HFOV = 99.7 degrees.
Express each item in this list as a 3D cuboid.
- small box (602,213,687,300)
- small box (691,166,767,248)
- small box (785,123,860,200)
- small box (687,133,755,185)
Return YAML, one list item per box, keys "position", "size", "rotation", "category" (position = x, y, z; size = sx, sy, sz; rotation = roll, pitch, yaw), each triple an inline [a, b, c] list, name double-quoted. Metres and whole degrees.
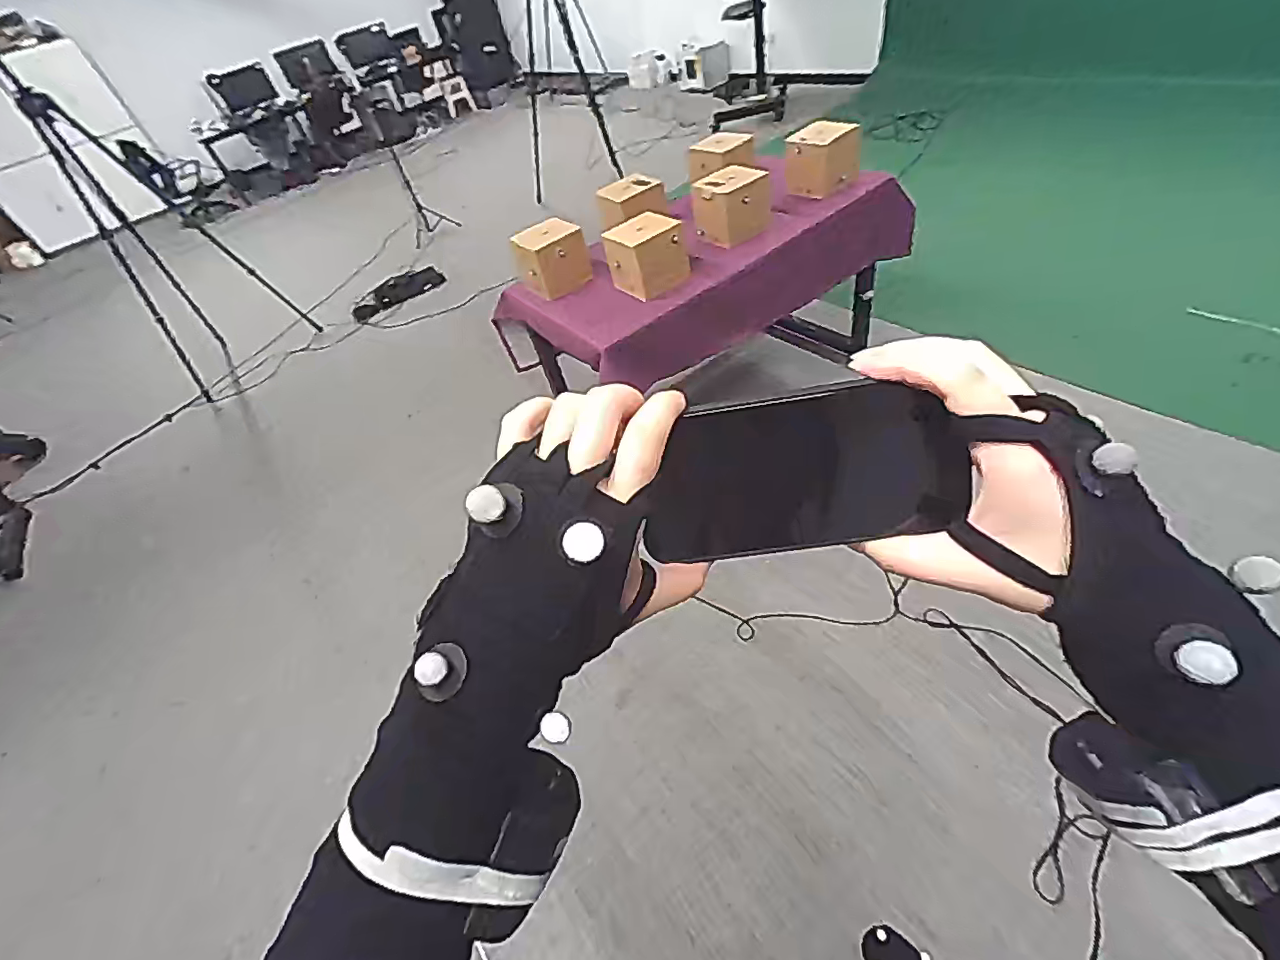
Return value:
- position: [0.020, -0.651, 1.581]
  size: [0.179, 0.176, 0.168]
  rotation: [-34, 47, -17]
  category: "small box"
- position: [0.285, -0.854, 1.695]
  size: [0.179, 0.176, 0.168]
  rotation: [-32, 47, -16]
  category: "small box"
- position: [0.601, -1.060, 1.797]
  size: [0.179, 0.176, 0.168]
  rotation: [-36, 48, -18]
  category: "small box"
- position: [0.294, -1.121, 1.944]
  size: [0.168, 0.176, 0.179]
  rotation: [-38, 49, -19]
  category: "small box"
